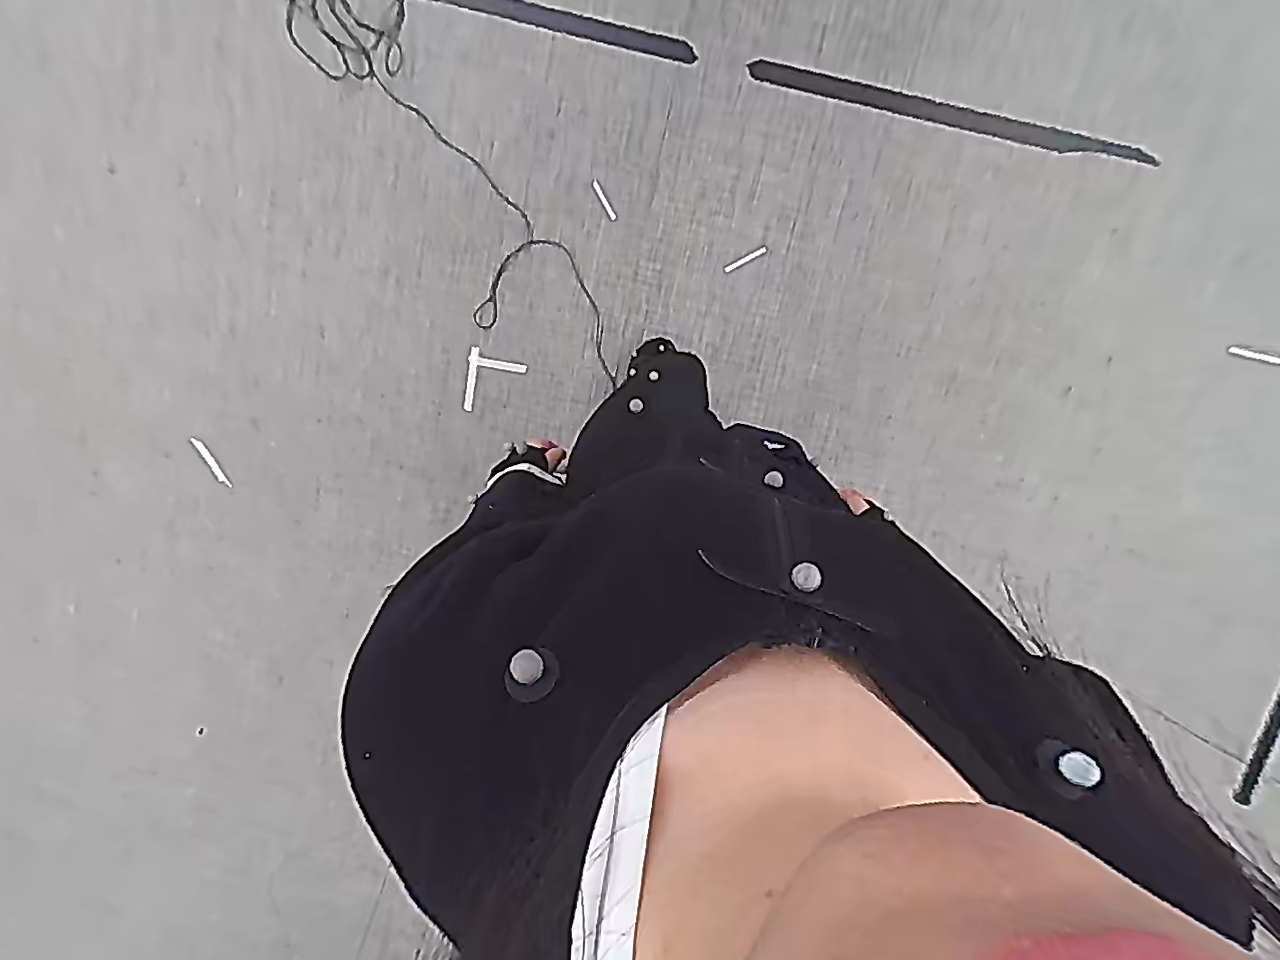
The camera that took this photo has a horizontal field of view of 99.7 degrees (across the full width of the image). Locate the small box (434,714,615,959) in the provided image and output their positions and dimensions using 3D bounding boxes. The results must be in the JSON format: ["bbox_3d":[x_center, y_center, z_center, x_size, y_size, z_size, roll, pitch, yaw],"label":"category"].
[{"bbox_3d":[-0.131,0.429,0.677,0.168,0.176,0.179,15,100,0],"label":"small box"}]

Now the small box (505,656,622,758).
[{"bbox_3d":[-0.126,0.401,0.837,0.168,0.176,0.179,15,99,-1],"label":"small box"}]
